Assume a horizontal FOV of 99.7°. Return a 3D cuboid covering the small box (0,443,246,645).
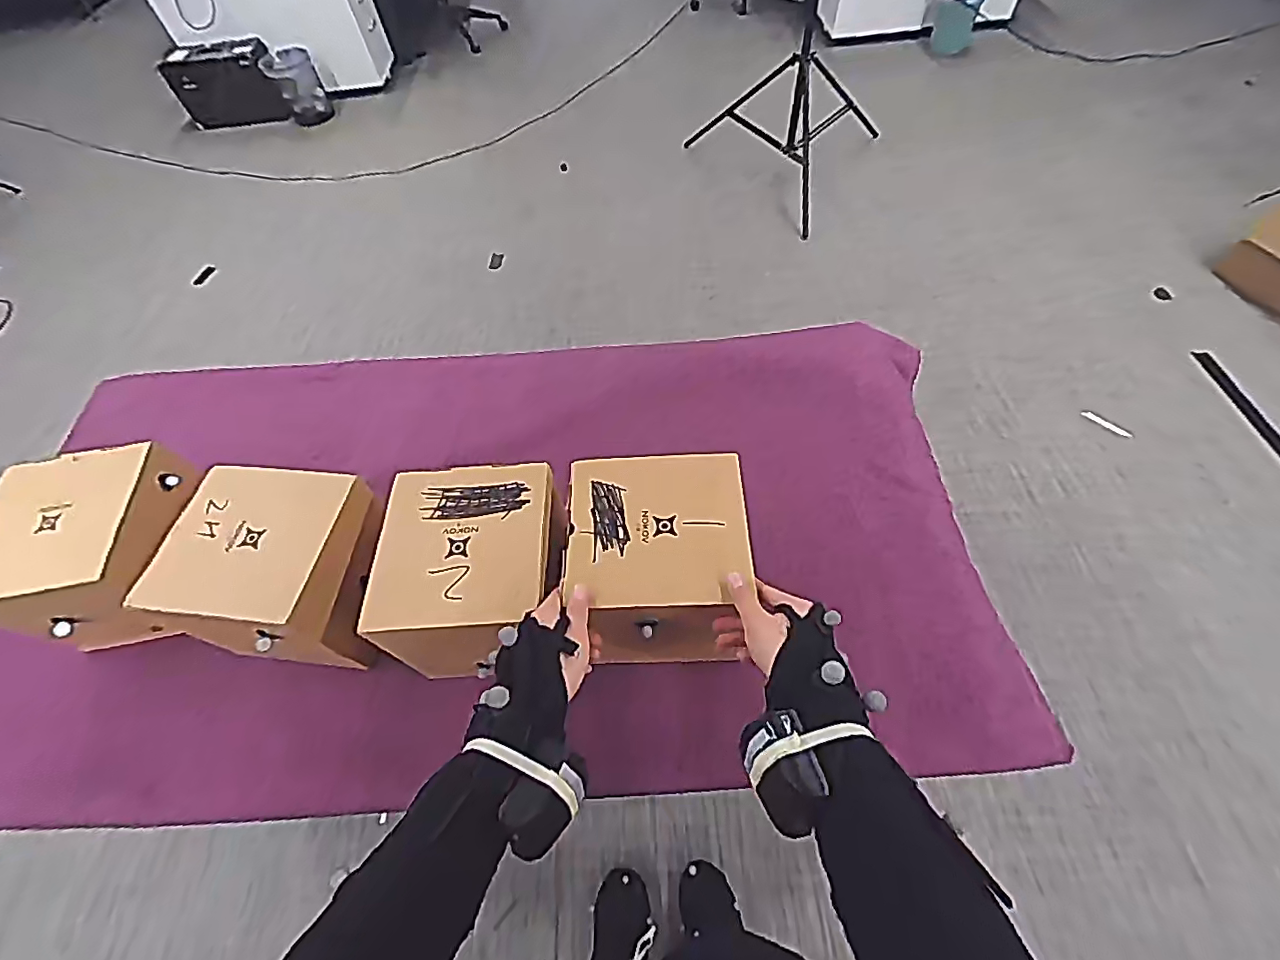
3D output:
[{"bbox_3d":[-0.619,0.086,0.647,0.168,0.176,0.179,-11,57,-2],"label":"small box"}]
